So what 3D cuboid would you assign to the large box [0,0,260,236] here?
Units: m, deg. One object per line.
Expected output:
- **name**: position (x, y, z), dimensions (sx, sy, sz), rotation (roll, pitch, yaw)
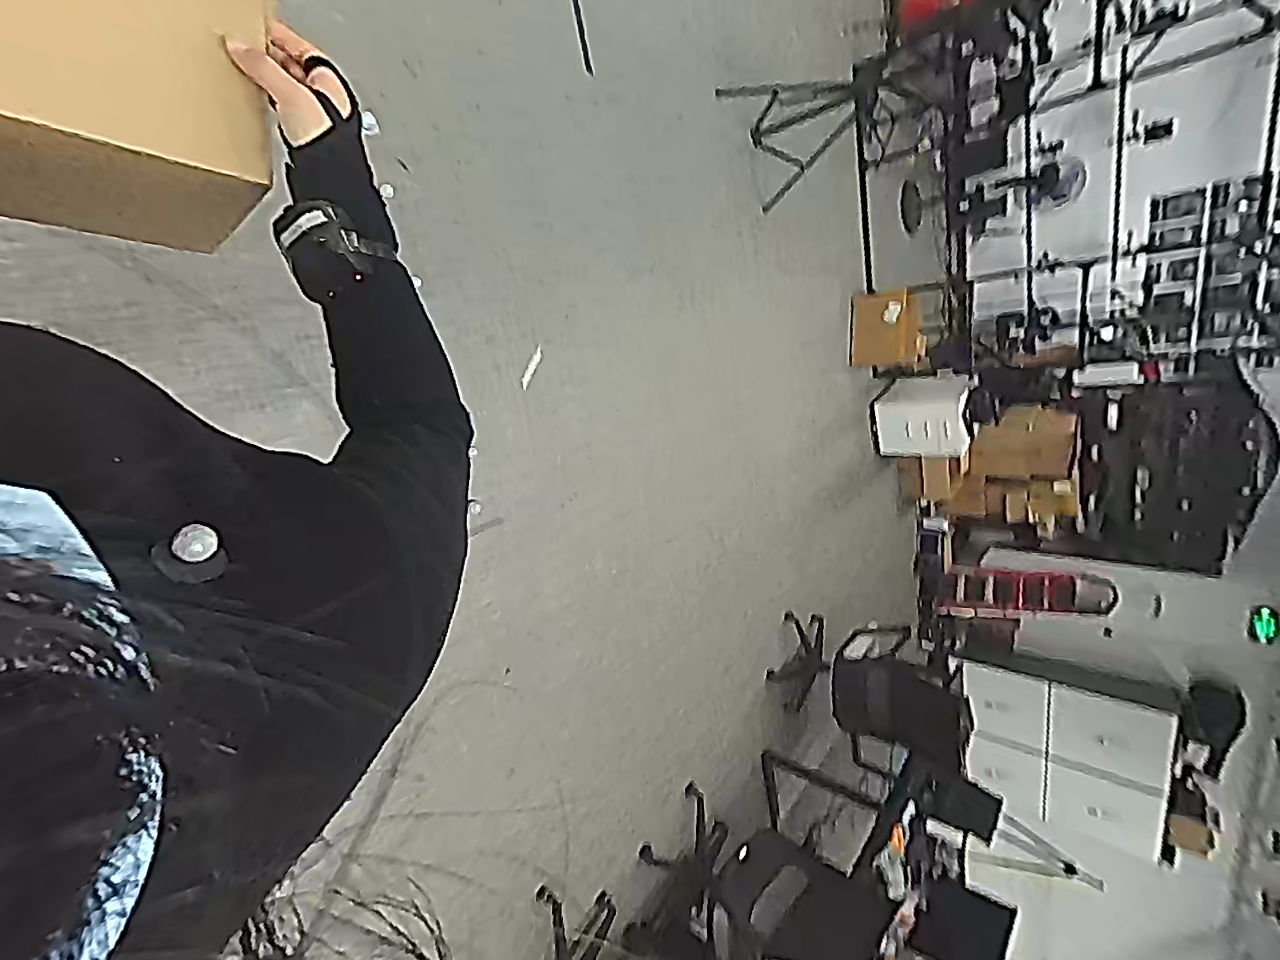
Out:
- **large box**: position (-0.557, -0.404, 0.393), dimensions (0.408, 0.320, 0.320), rotation (-6, 100, -44)
